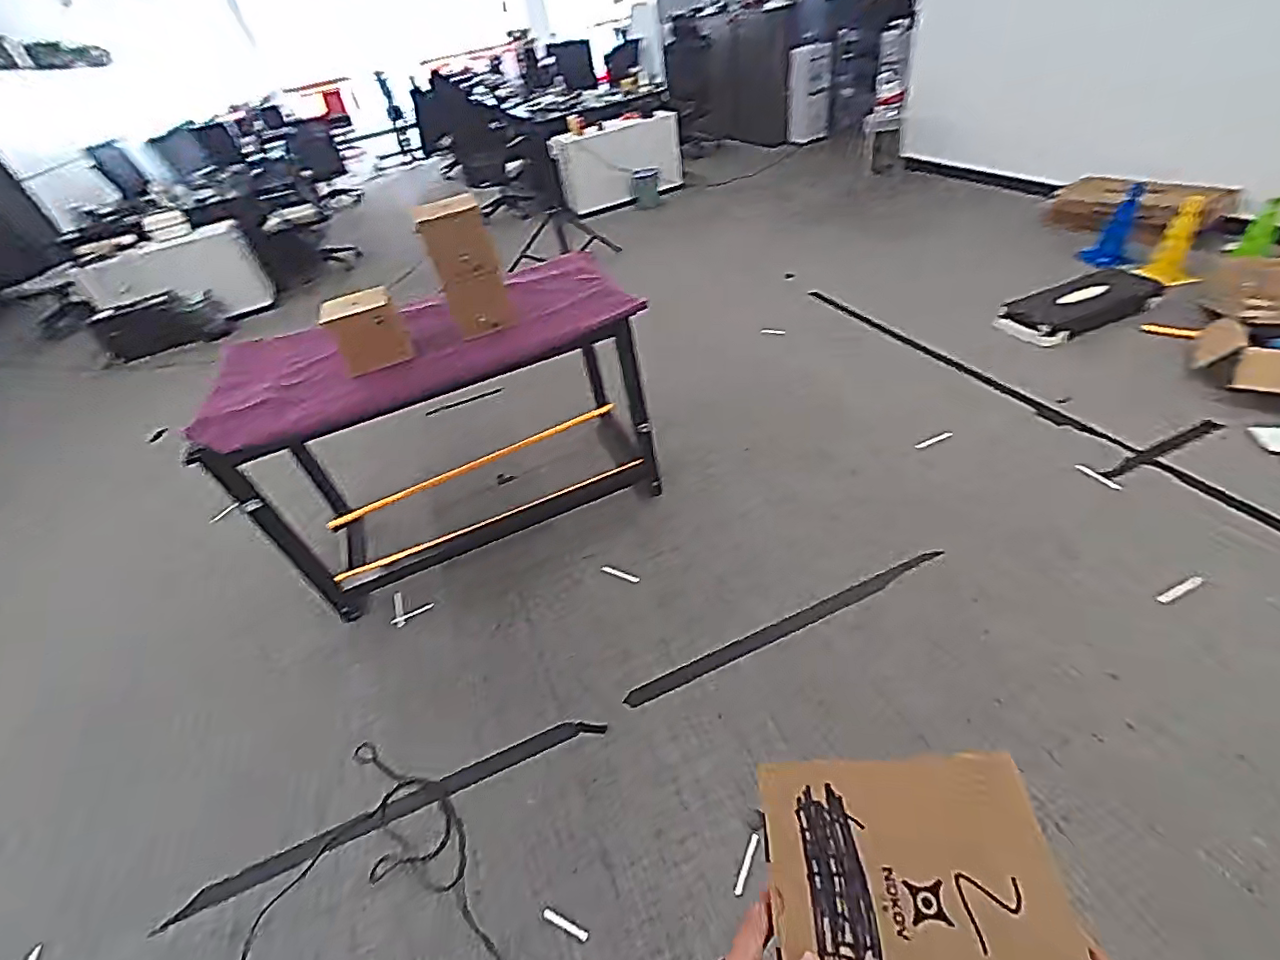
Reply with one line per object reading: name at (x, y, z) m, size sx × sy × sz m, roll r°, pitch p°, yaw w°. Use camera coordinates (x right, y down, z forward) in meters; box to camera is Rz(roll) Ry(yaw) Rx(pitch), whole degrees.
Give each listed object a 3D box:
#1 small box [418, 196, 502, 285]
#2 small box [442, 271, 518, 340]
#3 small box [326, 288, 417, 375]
small box at (-0.495, -0.660, 1.492) m, size 0.168 × 0.176 × 0.179 m, roll -21°, pitch 42°, yaw -9°
small box at (-0.474, -0.537, 1.600) m, size 0.168 × 0.176 × 0.179 m, roll -21°, pitch 42°, yaw -10°
small box at (-0.759, -0.421, 1.539) m, size 0.179 × 0.176 × 0.168 m, roll -21°, pitch 42°, yaw -11°
